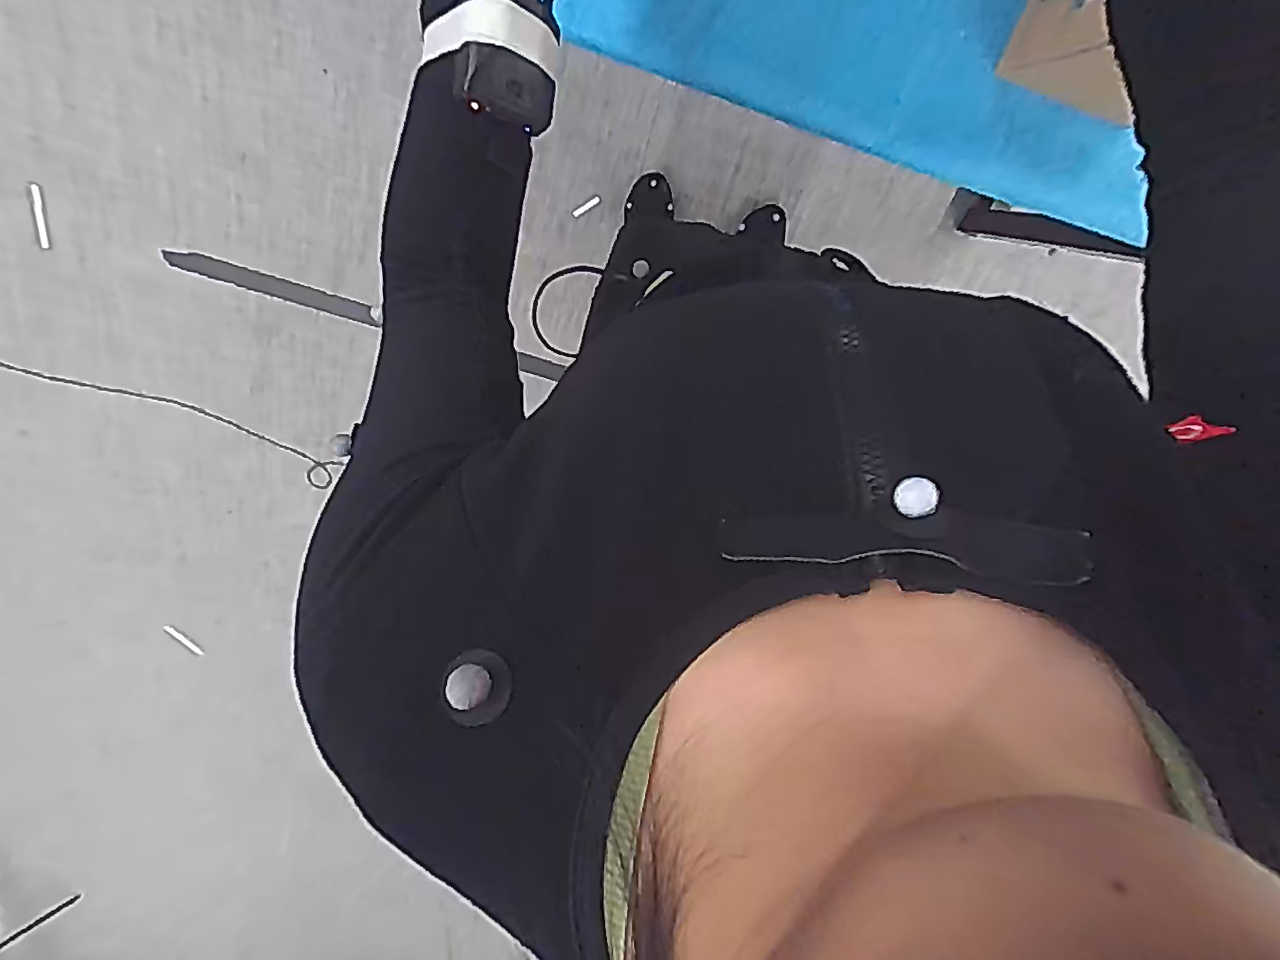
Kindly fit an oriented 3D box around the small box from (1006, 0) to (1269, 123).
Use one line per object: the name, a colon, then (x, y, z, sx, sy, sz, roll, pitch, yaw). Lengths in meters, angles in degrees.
small box: (0.464, -0.419, 0.451, 0.179, 0.176, 0.168, 14, 119, -10)
